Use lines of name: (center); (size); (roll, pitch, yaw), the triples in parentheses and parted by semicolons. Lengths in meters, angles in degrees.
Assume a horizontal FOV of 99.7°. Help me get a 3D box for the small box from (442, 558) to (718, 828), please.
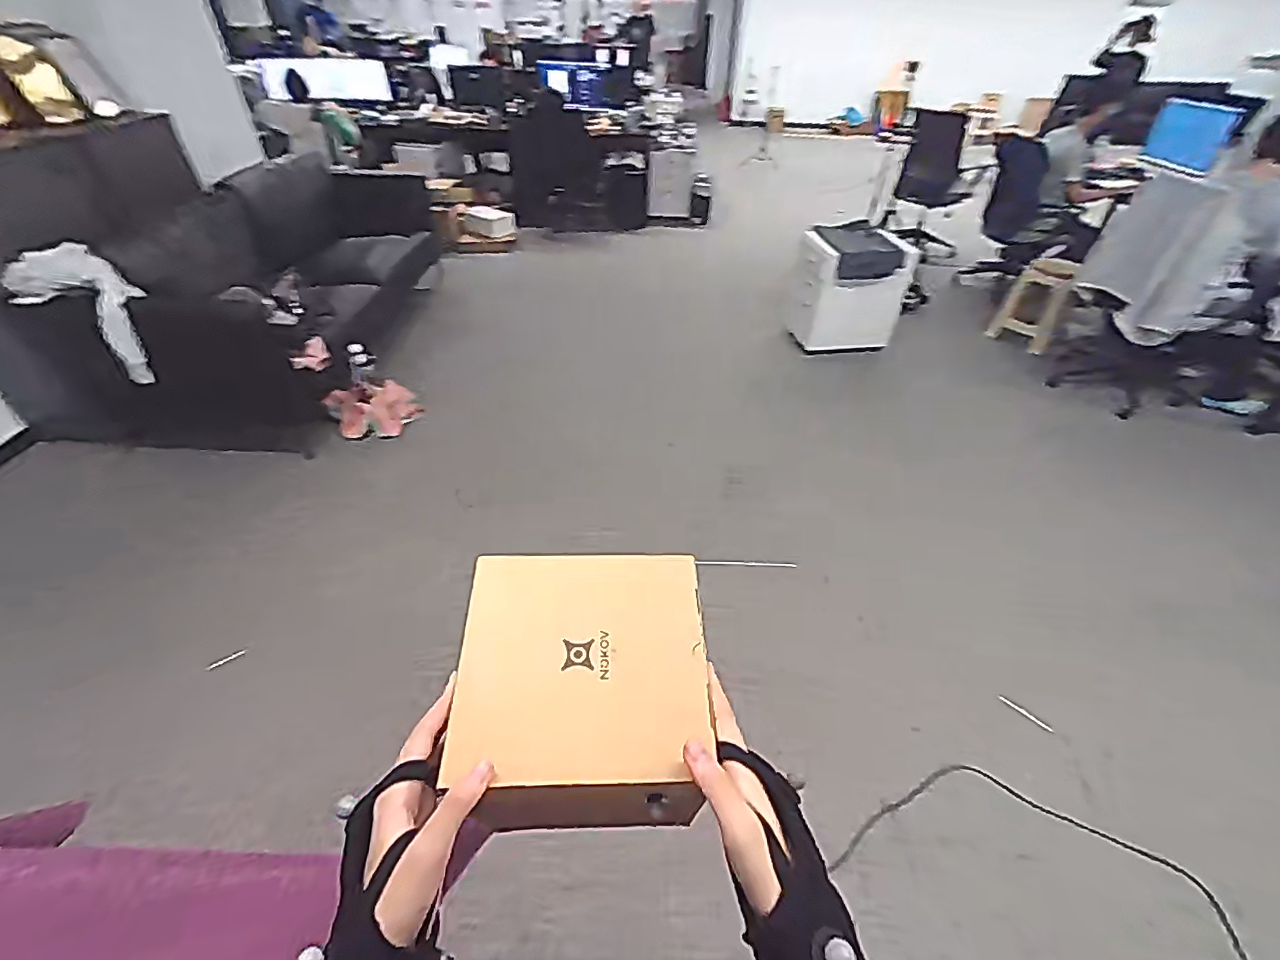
small box: (-0.041, 0.180, 0.448); (0.179, 0.176, 0.168); (1, 50, -4)
